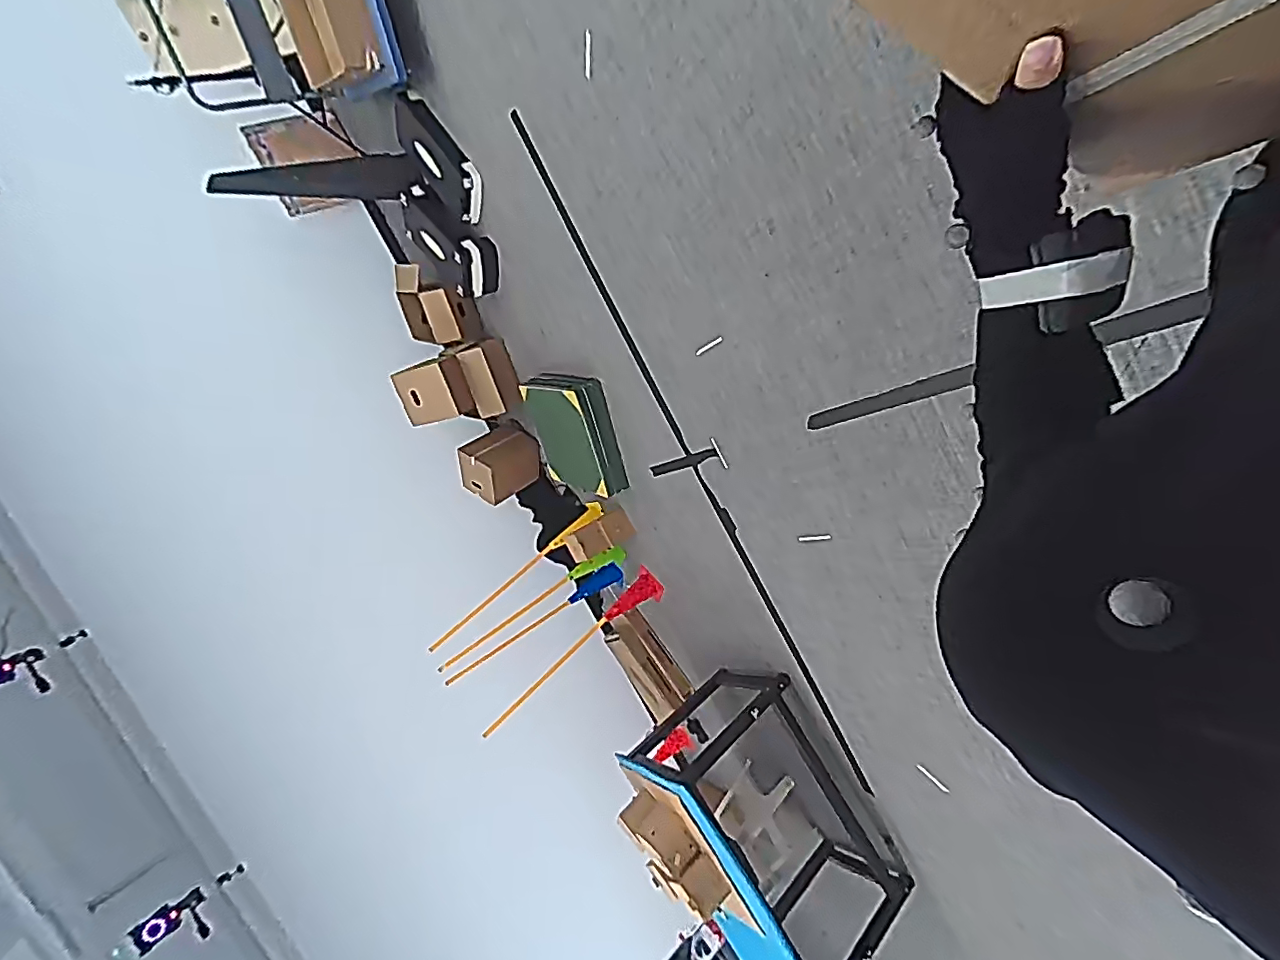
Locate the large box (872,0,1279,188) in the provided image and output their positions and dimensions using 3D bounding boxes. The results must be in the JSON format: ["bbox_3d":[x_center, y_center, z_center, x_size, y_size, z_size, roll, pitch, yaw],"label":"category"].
[{"bbox_3d":[0.330,-0.376,0.165,0.408,0.320,0.320,0,89,58],"label":"large box"}]
